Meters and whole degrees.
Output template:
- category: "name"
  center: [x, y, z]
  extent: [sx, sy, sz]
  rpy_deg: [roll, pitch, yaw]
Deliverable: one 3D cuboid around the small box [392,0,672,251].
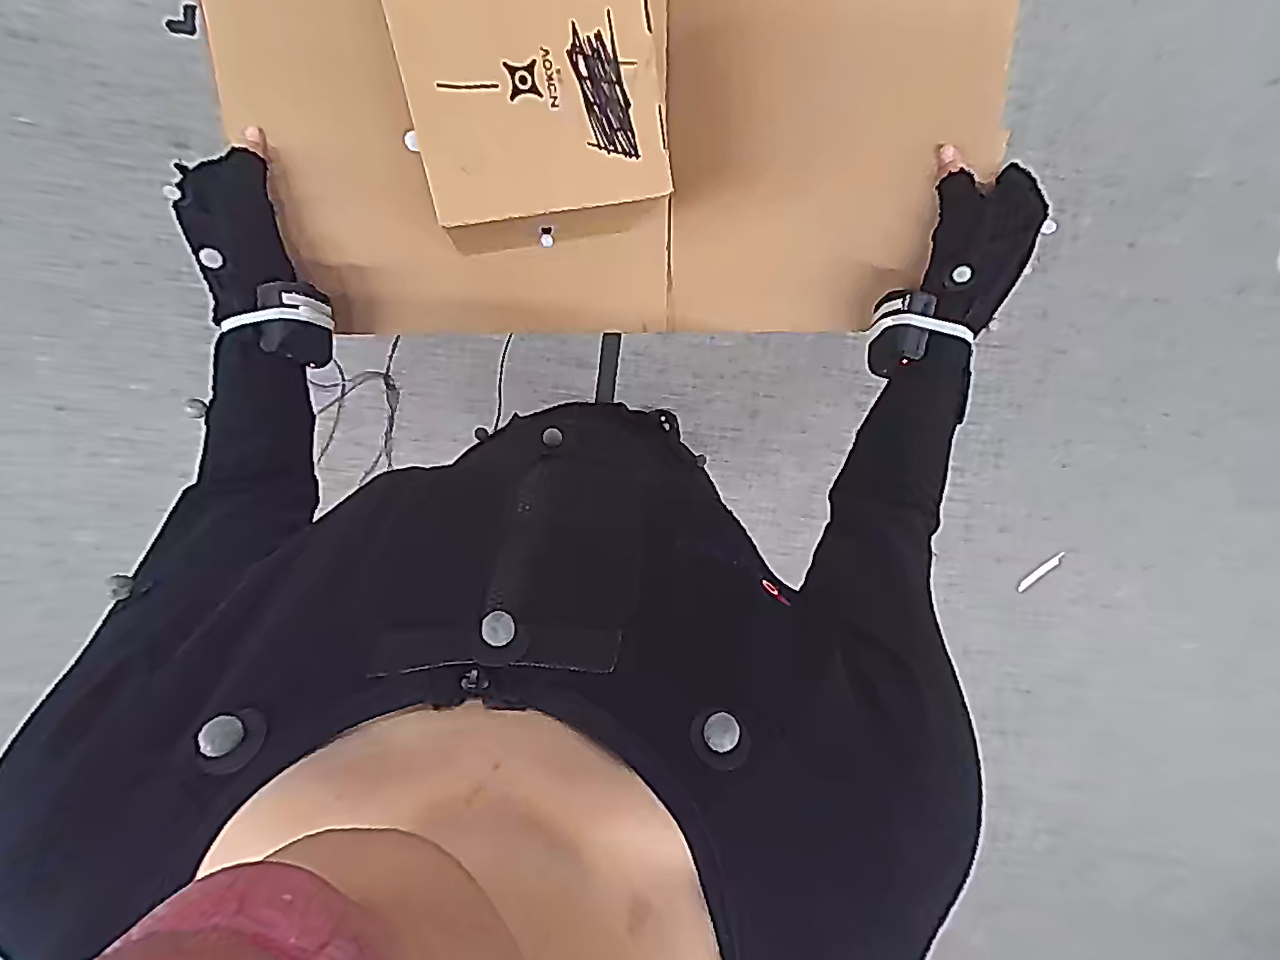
- category: "small box"
  center: [-0.087, -0.299, 0.456]
  extent: [0.179, 0.176, 0.168]
  rpy_deg: [-13, 108, -9]
